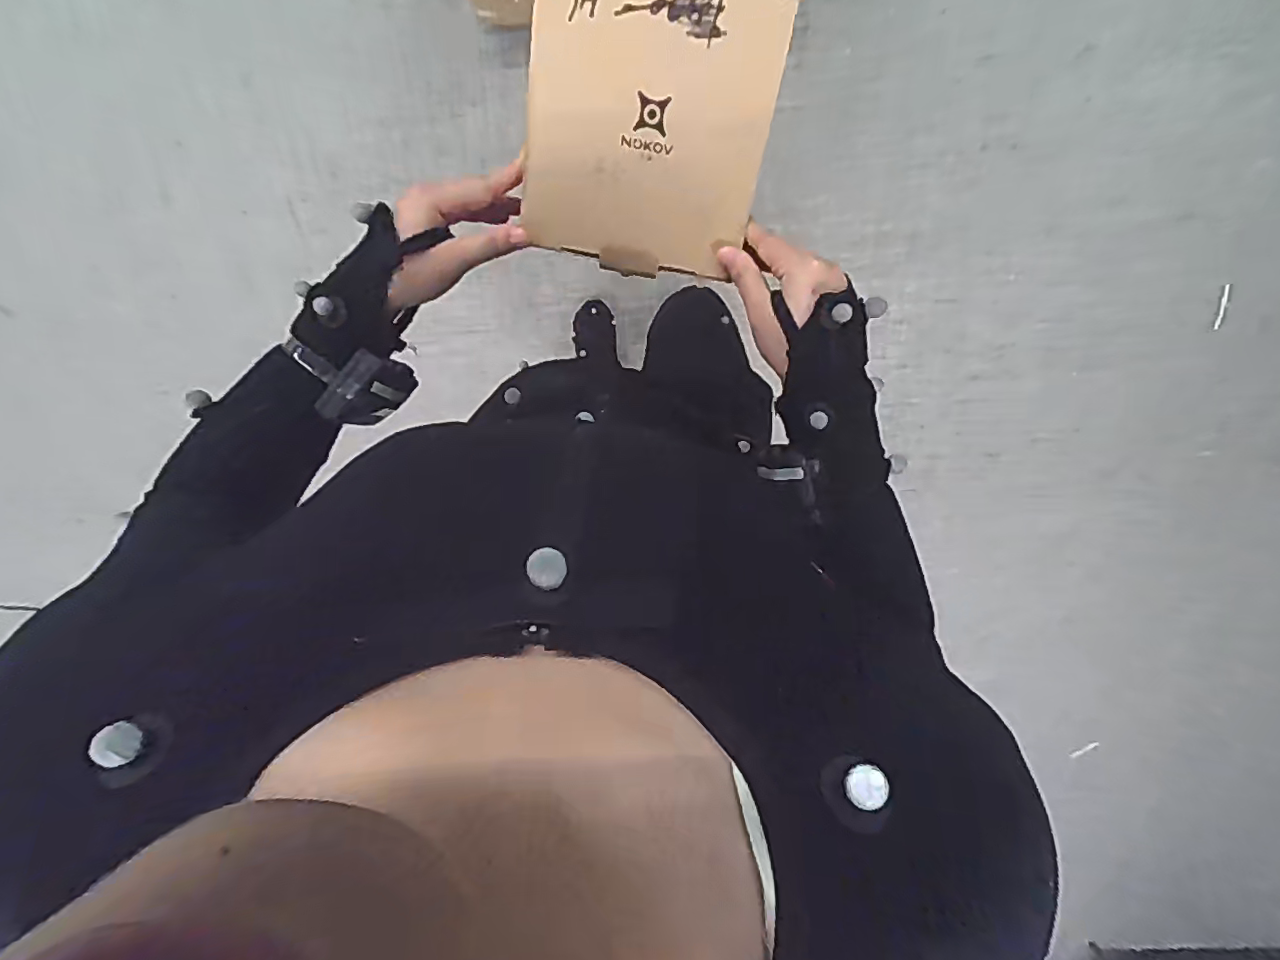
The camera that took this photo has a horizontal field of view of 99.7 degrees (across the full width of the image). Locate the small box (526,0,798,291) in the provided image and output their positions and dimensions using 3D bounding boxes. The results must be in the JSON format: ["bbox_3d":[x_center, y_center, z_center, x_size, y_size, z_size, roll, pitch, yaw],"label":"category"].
[{"bbox_3d":[0.008,-0.271,0.446,0.168,0.176,0.179,8,117,-5],"label":"small box"}]
